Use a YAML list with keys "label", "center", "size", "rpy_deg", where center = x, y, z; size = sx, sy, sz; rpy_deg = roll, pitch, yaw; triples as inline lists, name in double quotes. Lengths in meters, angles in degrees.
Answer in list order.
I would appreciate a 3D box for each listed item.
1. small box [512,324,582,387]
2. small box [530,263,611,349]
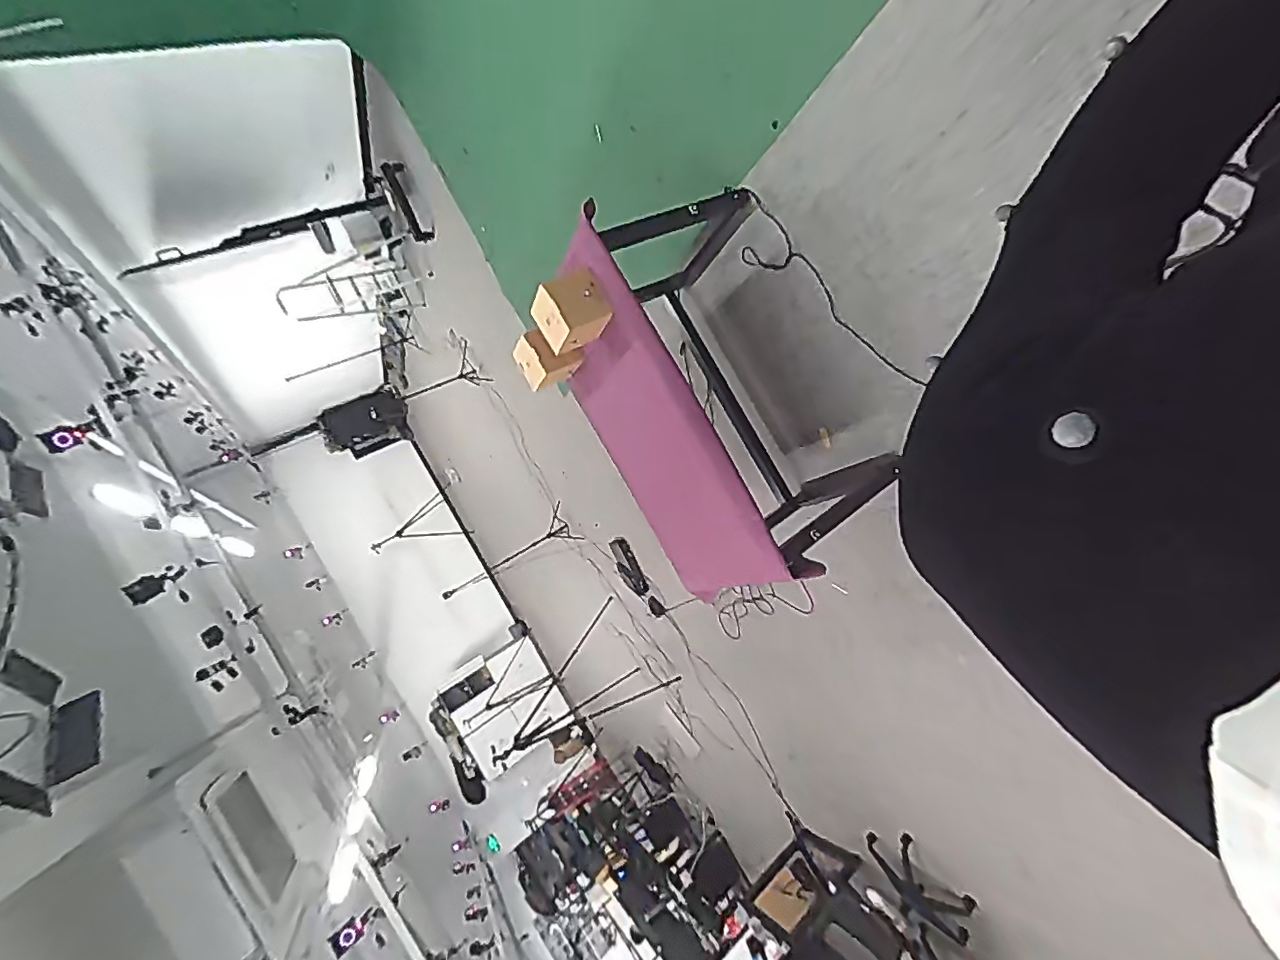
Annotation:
- label: "small box"
  center: [-0.334, -0.468, 1.961]
  size: [0.168, 0.176, 0.179]
  rpy_deg: [60, 151, -2]
- label: "small box"
  center: [-0.214, -0.540, 1.678]
  size: [0.168, 0.176, 0.179]
  rpy_deg: [58, 154, -1]
